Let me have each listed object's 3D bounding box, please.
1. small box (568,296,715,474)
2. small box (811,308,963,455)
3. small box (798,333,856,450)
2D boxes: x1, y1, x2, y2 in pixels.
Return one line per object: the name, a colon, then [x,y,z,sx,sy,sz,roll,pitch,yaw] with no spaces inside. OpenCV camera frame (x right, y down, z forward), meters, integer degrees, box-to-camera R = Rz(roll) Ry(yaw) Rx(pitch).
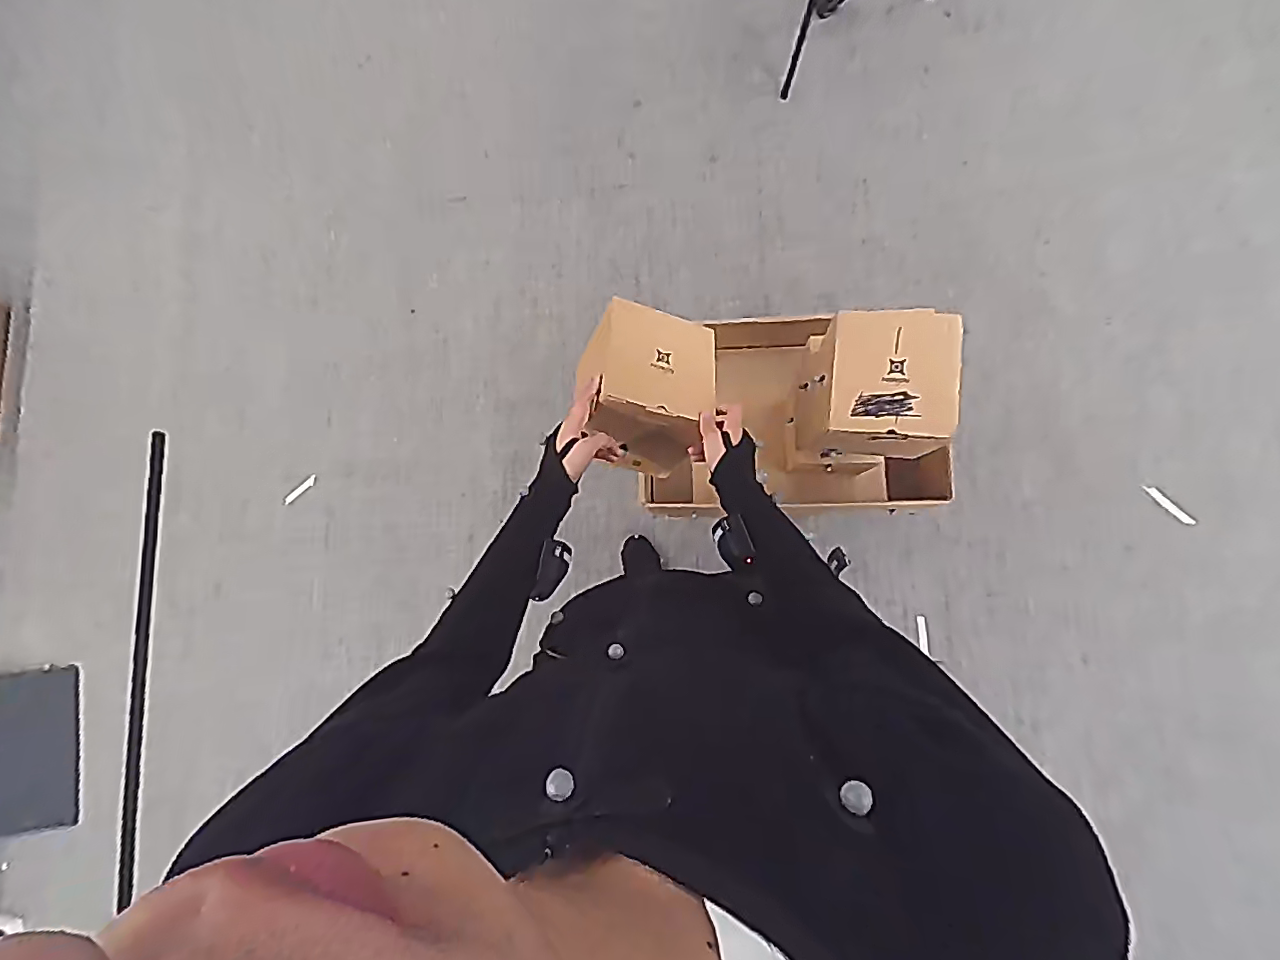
small box: [-0.002,-0.132,0.808,0.168,0.176,0.179,13,62,-20]
small box: [0.358,-0.138,0.812,0.168,0.176,0.179,6,84,9]
small box: [0.380,-0.154,0.978,0.168,0.176,0.179,0,85,9]
